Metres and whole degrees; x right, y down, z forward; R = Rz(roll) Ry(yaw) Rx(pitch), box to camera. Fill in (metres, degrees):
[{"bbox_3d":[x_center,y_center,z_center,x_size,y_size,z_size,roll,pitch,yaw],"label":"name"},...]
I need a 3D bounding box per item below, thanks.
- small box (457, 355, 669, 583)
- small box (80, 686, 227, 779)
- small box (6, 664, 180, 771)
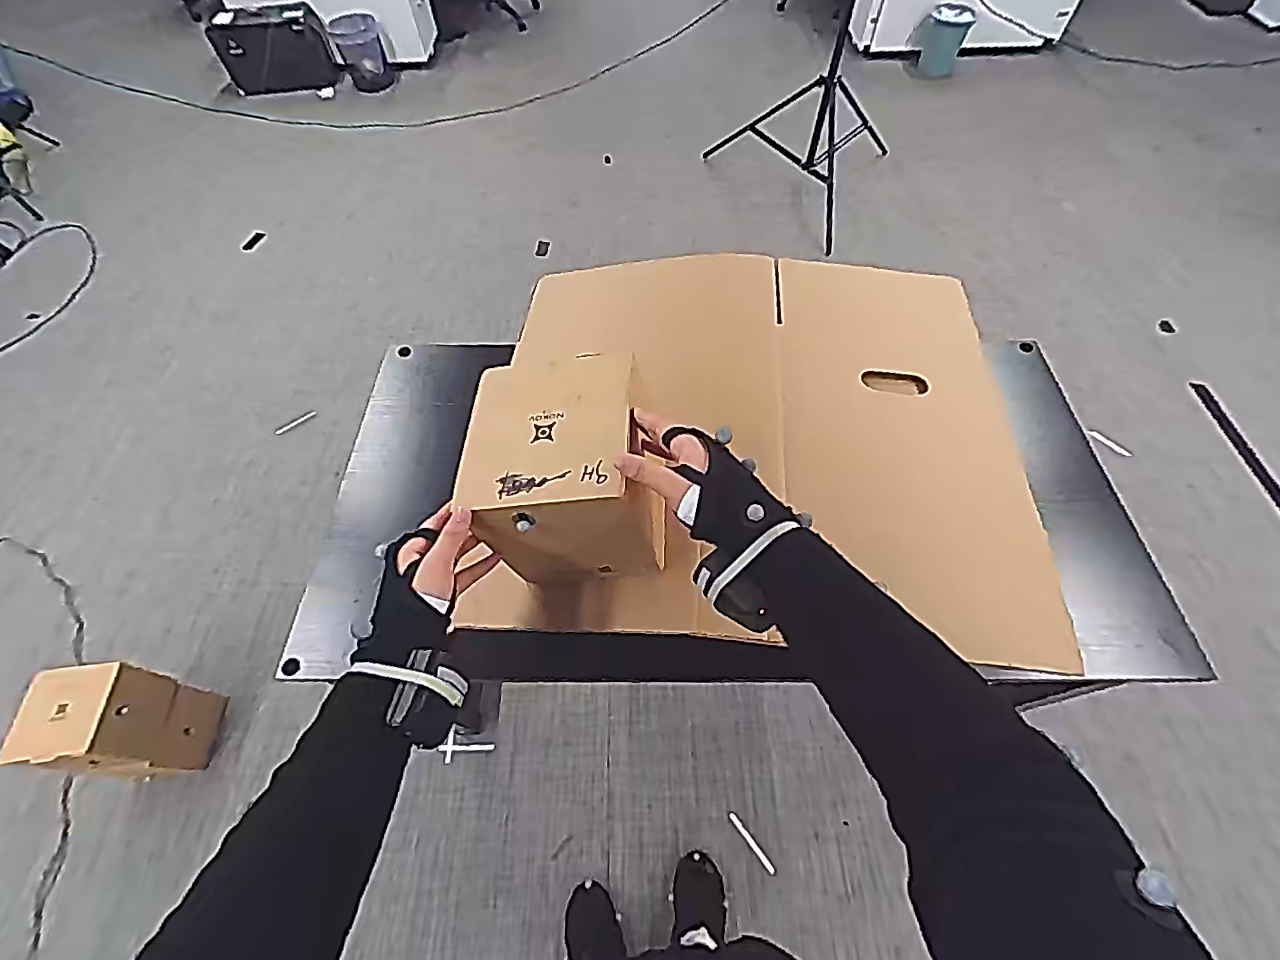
[{"bbox_3d":[-0.065,-0.005,0.584,0.168,0.176,0.179,-6,56,13],"label":"small box"},{"bbox_3d":[-1.128,0.598,1.276,0.168,0.176,0.179,-4,59,-1],"label":"small box"},{"bbox_3d":[-1.133,0.507,1.142,0.168,0.176,0.179,-6,57,-4],"label":"small box"}]
